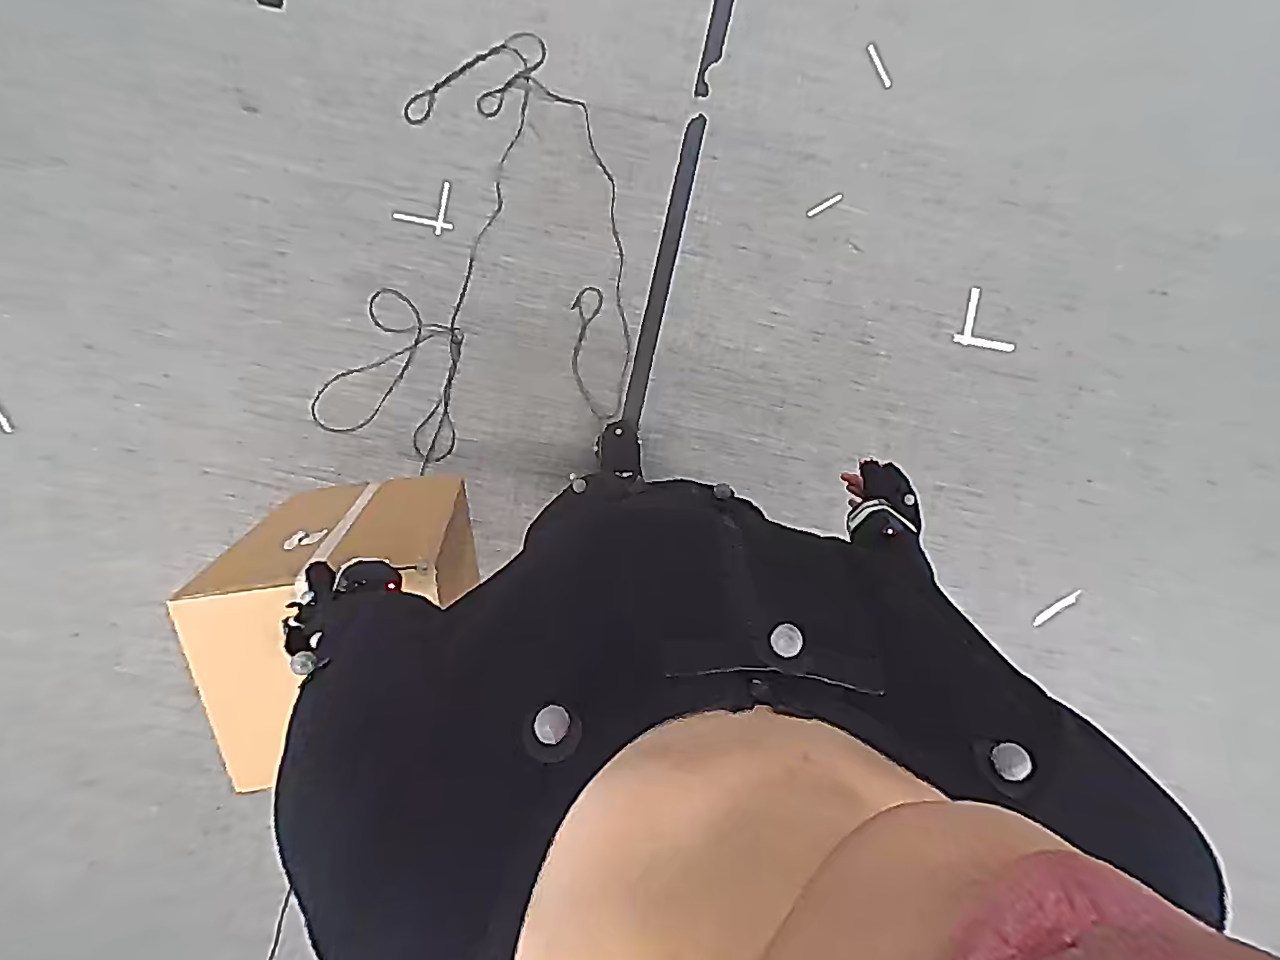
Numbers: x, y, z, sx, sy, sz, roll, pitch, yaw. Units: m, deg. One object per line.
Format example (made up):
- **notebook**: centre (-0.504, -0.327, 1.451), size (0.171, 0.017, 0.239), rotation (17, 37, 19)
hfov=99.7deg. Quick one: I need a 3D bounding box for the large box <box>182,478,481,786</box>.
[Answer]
- **large box**: centre (-0.455, 0.216, 0.922), size (0.320, 0.408, 0.320), rotation (-8, 110, -10)
